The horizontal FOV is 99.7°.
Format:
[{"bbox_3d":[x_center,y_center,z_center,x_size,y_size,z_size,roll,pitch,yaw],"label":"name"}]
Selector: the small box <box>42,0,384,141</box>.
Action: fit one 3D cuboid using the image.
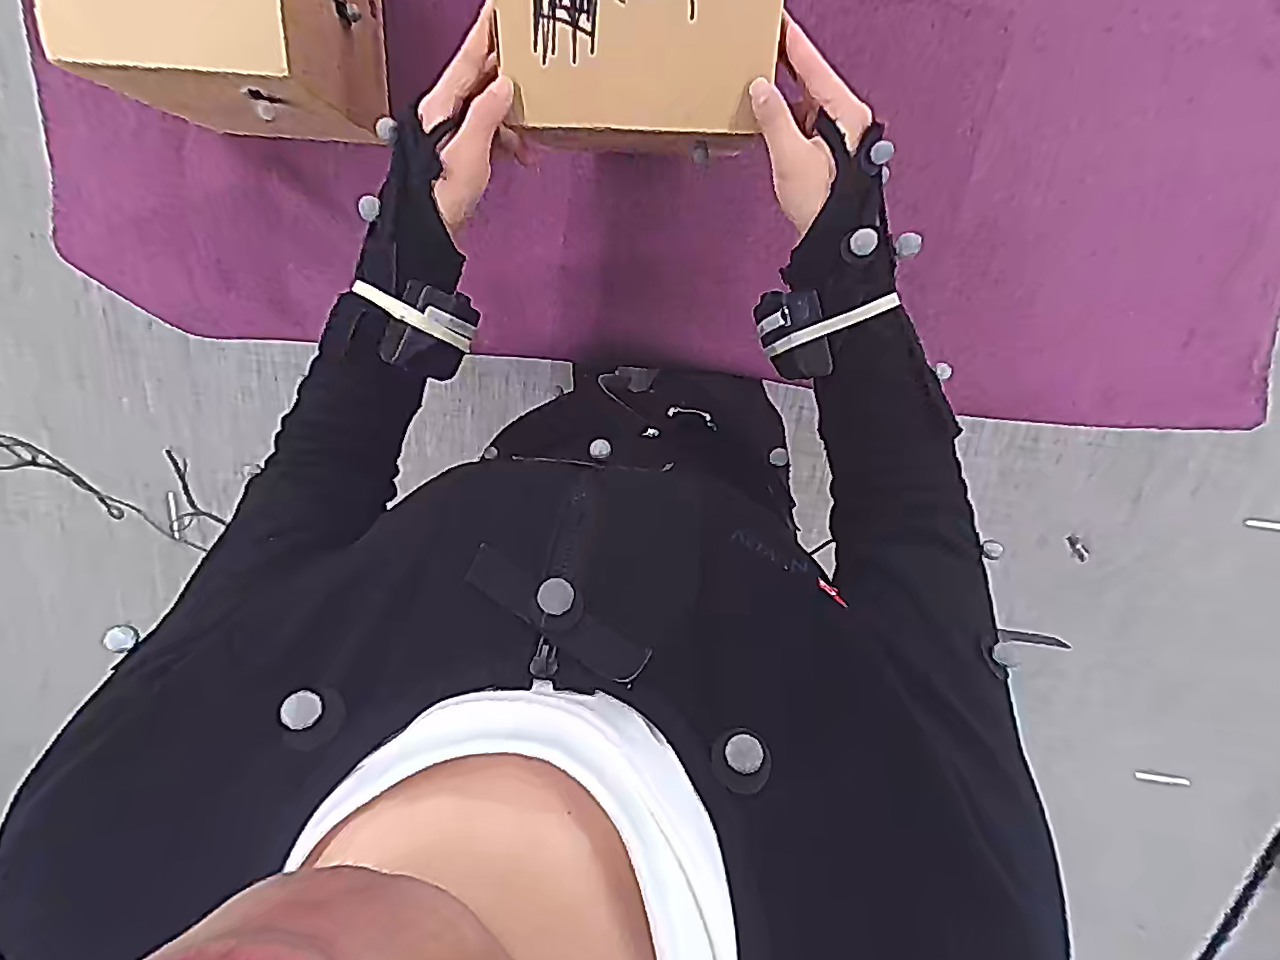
[{"bbox_3d":[-0.327,-0.396,0.441,0.179,0.176,0.168,4,107,-1],"label":"small box"}]
